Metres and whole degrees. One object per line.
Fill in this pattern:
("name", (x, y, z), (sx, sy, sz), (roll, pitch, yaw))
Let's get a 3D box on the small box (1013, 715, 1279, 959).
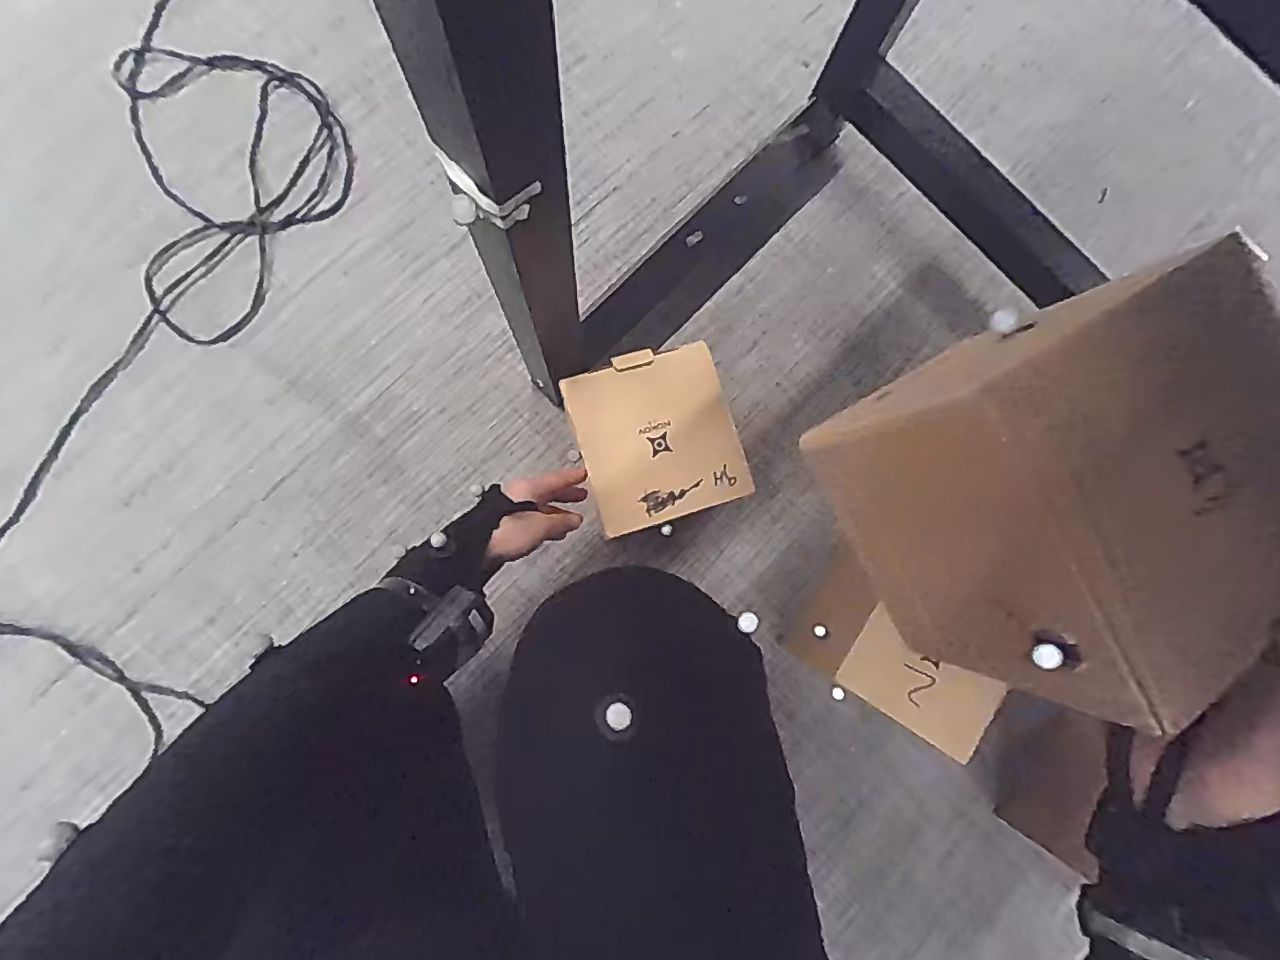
("small box", (0.593, 0.419, 0.638), (0.168, 0.176, 0.179), (39, 82, 0))
